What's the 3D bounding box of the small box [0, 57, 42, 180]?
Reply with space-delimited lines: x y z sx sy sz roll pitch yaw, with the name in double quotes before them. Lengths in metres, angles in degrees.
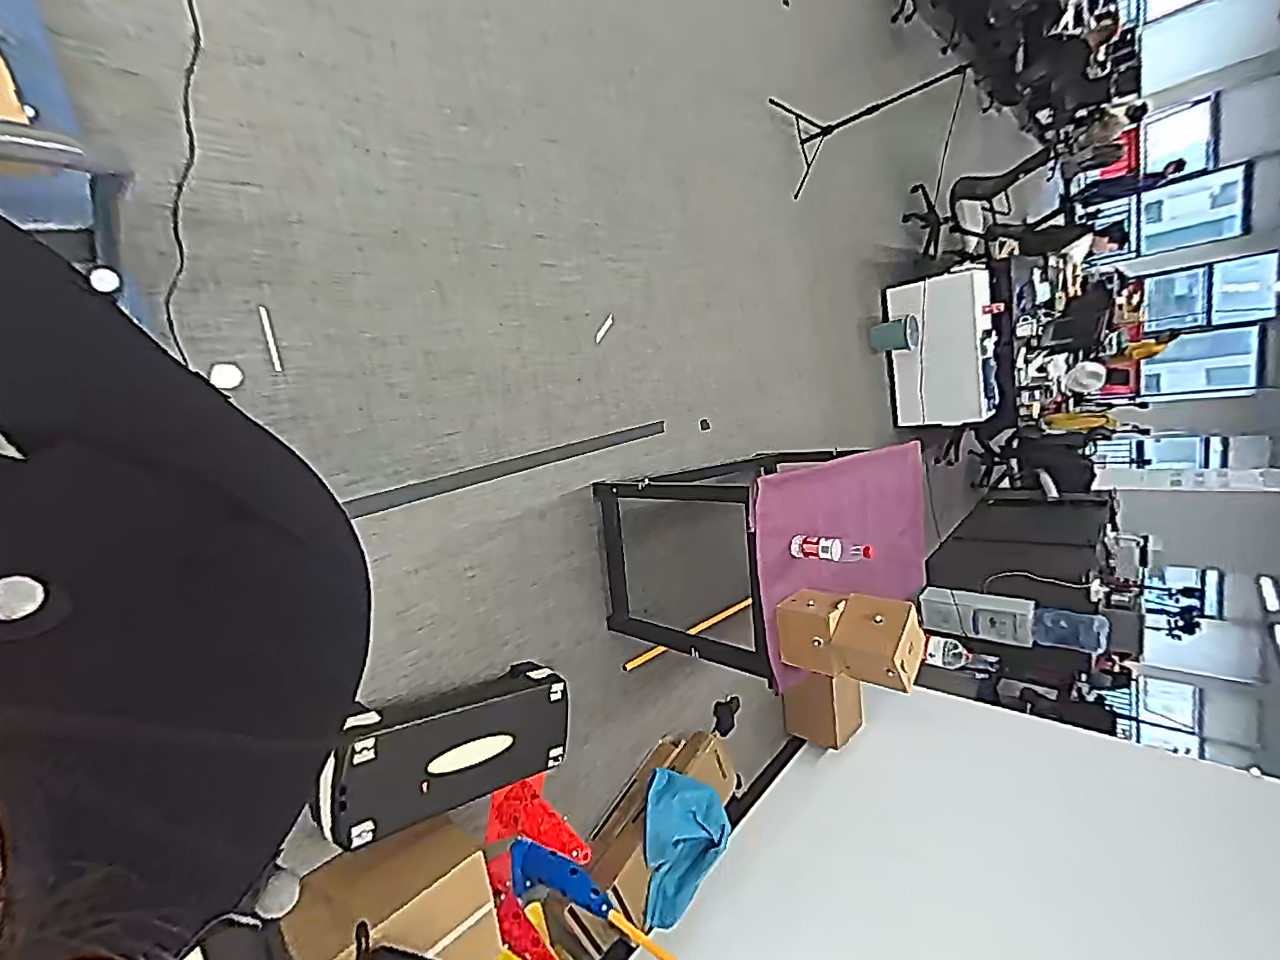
"small box" -1.014 -0.547 0.770 0.179 0.176 0.168 -25 108 -42
